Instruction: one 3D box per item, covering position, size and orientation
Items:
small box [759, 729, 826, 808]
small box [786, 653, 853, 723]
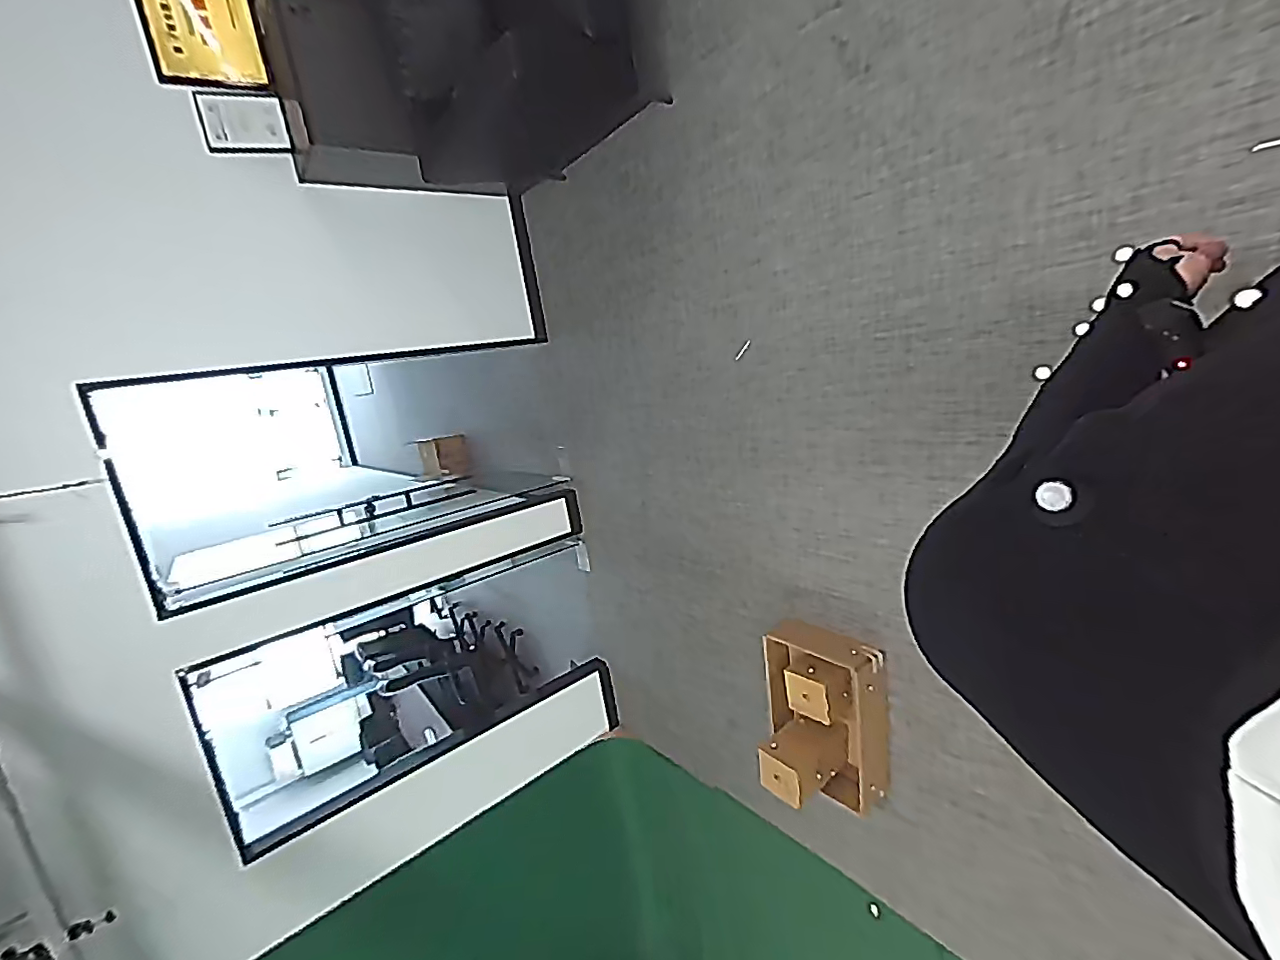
[{"bbox_3d":[0.568,1.062,2.012,0.179,0.176,0.168,10,111,50],"label":"small box"},{"bbox_3d":[0.677,0.775,2.039,0.179,0.176,0.168,4,107,50],"label":"small box"}]
